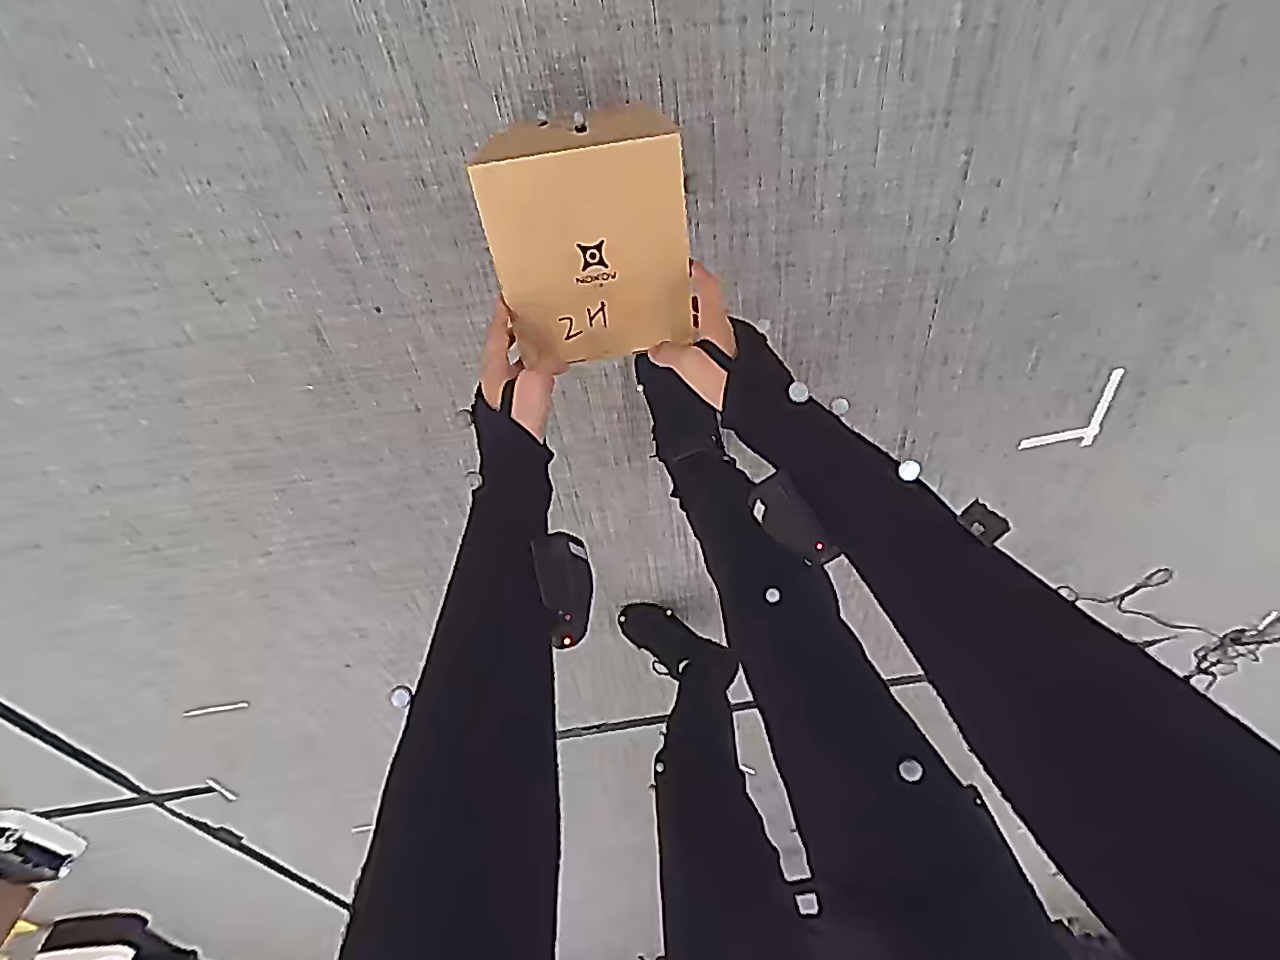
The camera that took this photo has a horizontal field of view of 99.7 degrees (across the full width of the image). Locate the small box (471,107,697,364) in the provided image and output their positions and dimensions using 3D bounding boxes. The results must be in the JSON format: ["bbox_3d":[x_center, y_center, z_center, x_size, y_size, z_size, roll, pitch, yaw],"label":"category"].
[{"bbox_3d":[-0.044,-0.234,0.507,0.168,0.176,0.179,-8,130,1],"label":"small box"}]
